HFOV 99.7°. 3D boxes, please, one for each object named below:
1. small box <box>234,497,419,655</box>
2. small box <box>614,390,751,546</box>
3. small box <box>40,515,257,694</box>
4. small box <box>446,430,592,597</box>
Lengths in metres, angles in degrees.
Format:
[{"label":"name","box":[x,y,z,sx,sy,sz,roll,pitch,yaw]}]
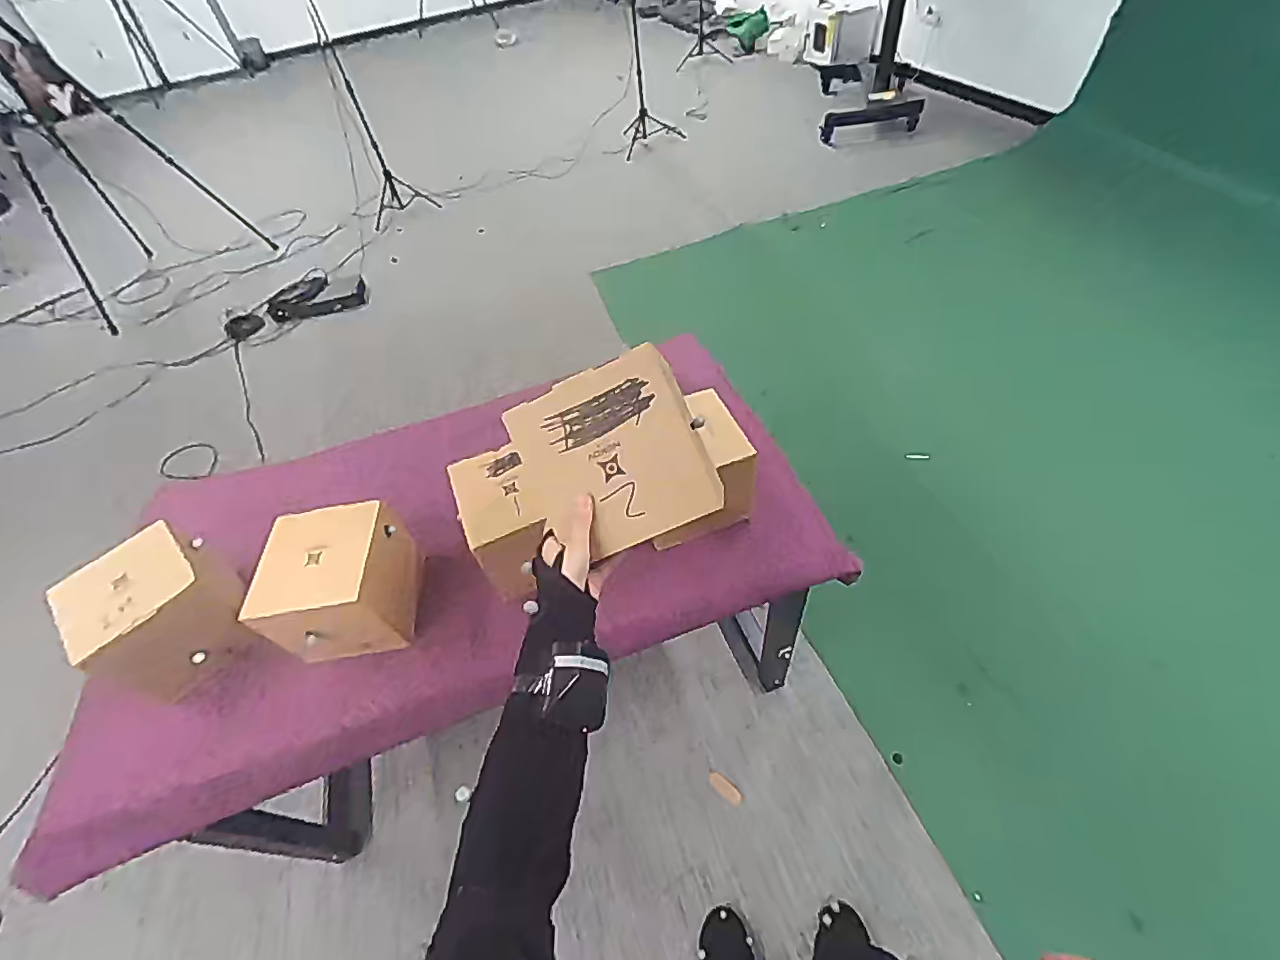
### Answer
[{"label":"small box","box":[-0.460,0.154,0.829,0.168,0.176,0.179,-9,50,0]},{"label":"small box","box":[0.071,-0.016,0.895,0.179,0.176,0.168,-18,50,-7]},{"label":"small box","box":[-0.736,0.194,0.828,0.179,0.176,0.168,34,63,29]},{"label":"small box","box":[-0.191,0.055,0.872,0.168,0.176,0.179,-22,52,-10]}]
